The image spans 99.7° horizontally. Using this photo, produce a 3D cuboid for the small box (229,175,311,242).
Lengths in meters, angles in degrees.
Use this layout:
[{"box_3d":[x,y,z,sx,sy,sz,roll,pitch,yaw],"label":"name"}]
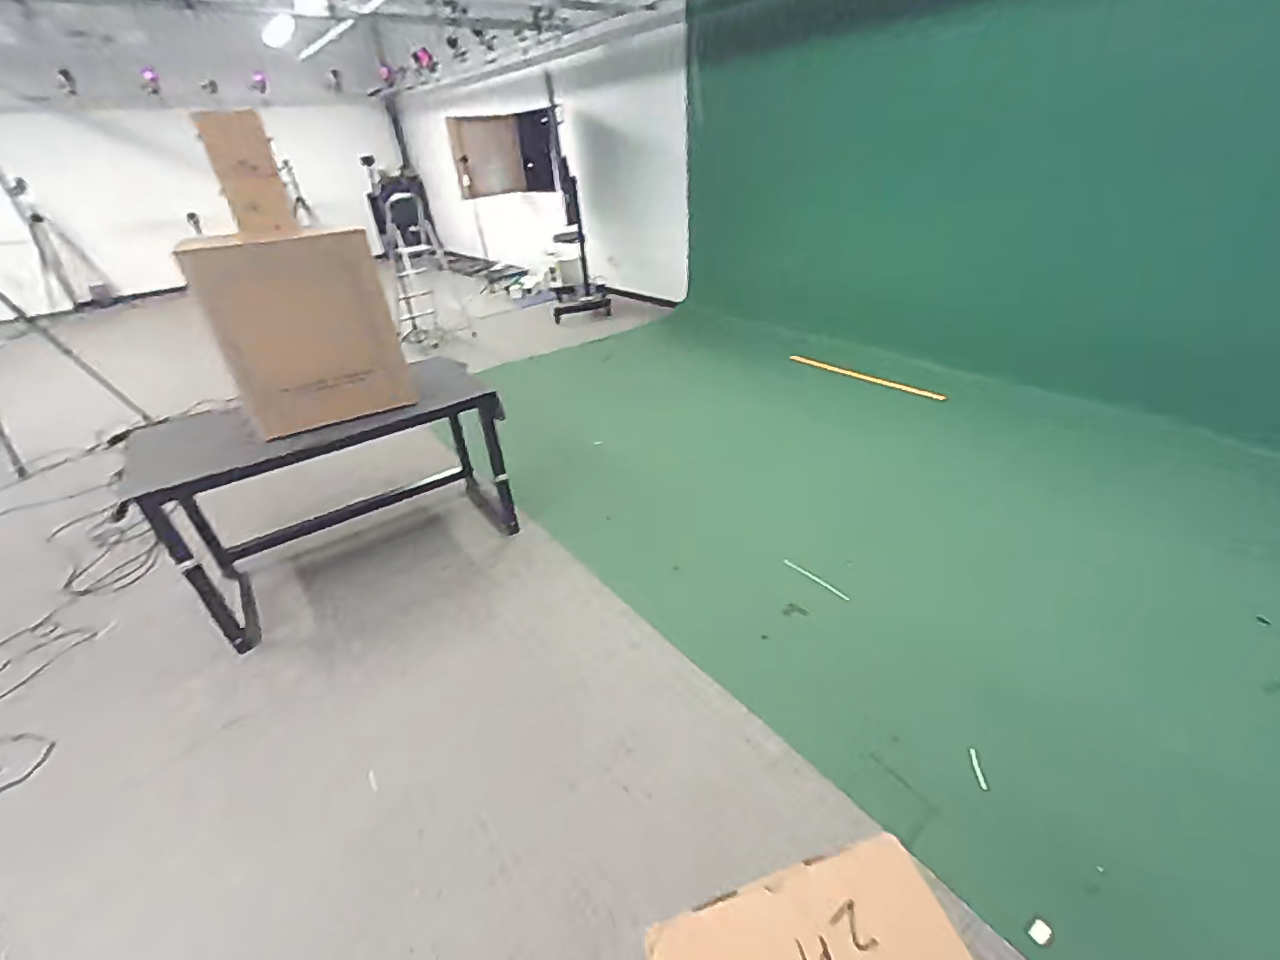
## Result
[{"box_3d":[-1.164,-0.859,1.712,0.168,0.176,0.179,-19,36,-23],"label":"small box"}]
